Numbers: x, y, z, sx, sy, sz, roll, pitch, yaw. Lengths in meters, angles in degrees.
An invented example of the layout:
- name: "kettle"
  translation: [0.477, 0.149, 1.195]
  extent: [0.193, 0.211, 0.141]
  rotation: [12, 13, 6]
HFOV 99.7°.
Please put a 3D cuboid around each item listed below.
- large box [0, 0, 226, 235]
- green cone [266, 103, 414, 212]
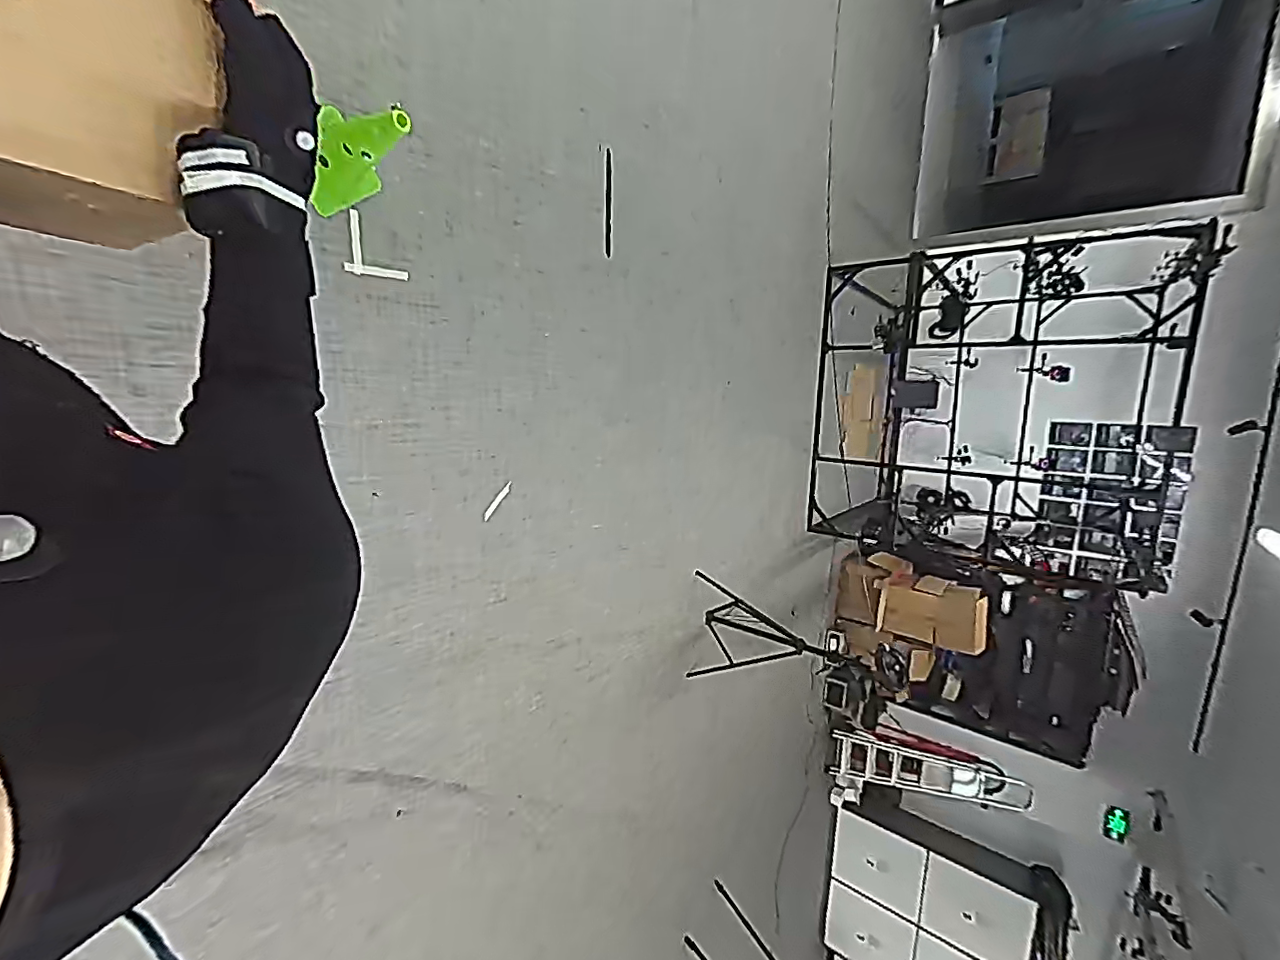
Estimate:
- name: "large box"
  translation: [-0.558, -0.382, 0.337]
  extent: [0.408, 0.320, 0.320]
  rotation: [-6, 105, -54]
- name: "green cone"
  translation: [-0.633, -0.769, 1.225]
  extent: [0.202, 0.368, 0.200]
  rotation: [-55, 137, -33]
